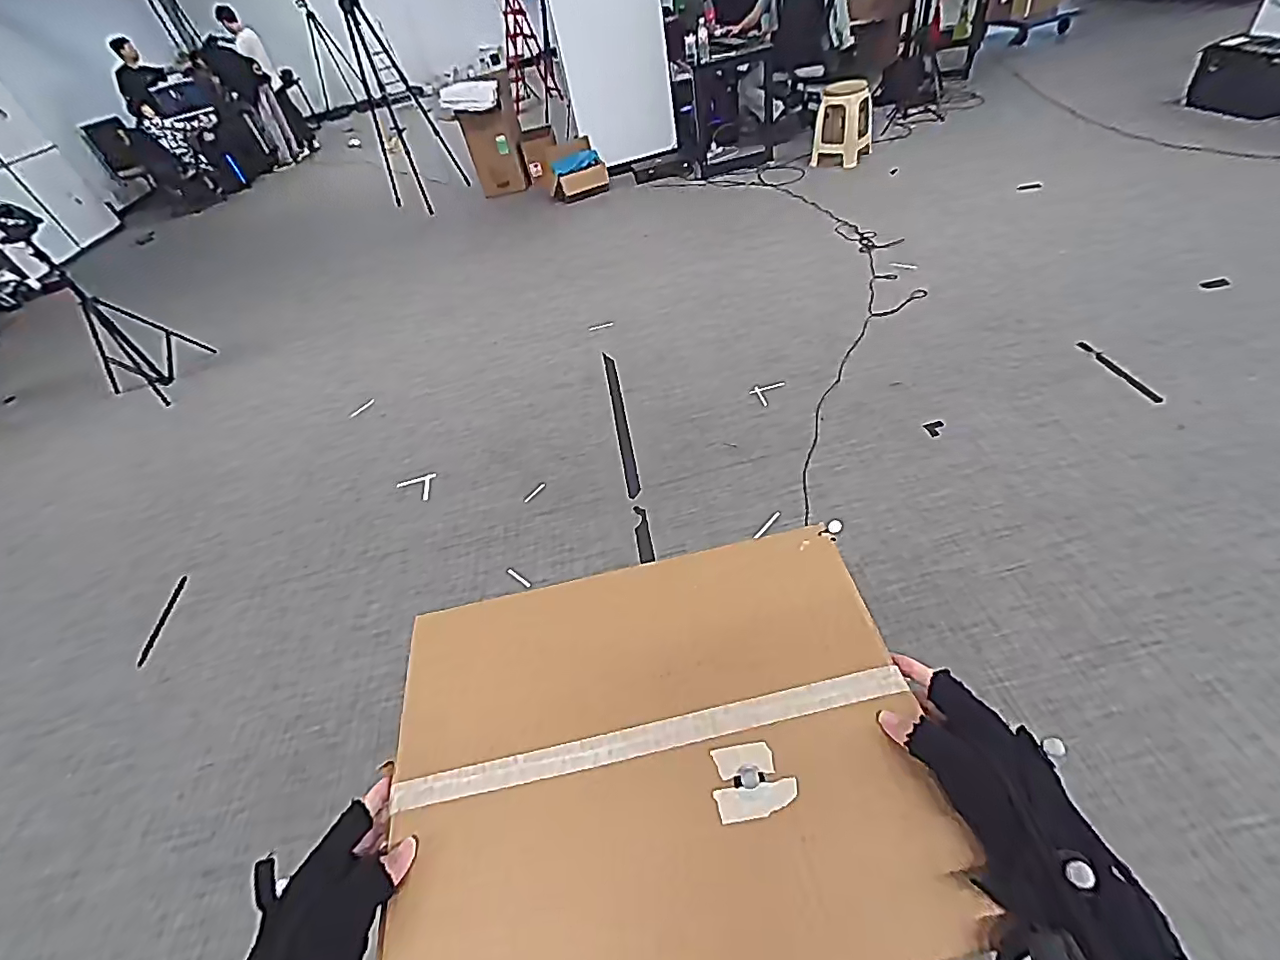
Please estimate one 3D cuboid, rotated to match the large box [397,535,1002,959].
[{"bbox_3d":[0.031,0.307,0.544,0.408,0.320,0.320,-13,49,0],"label":"large box"}]
